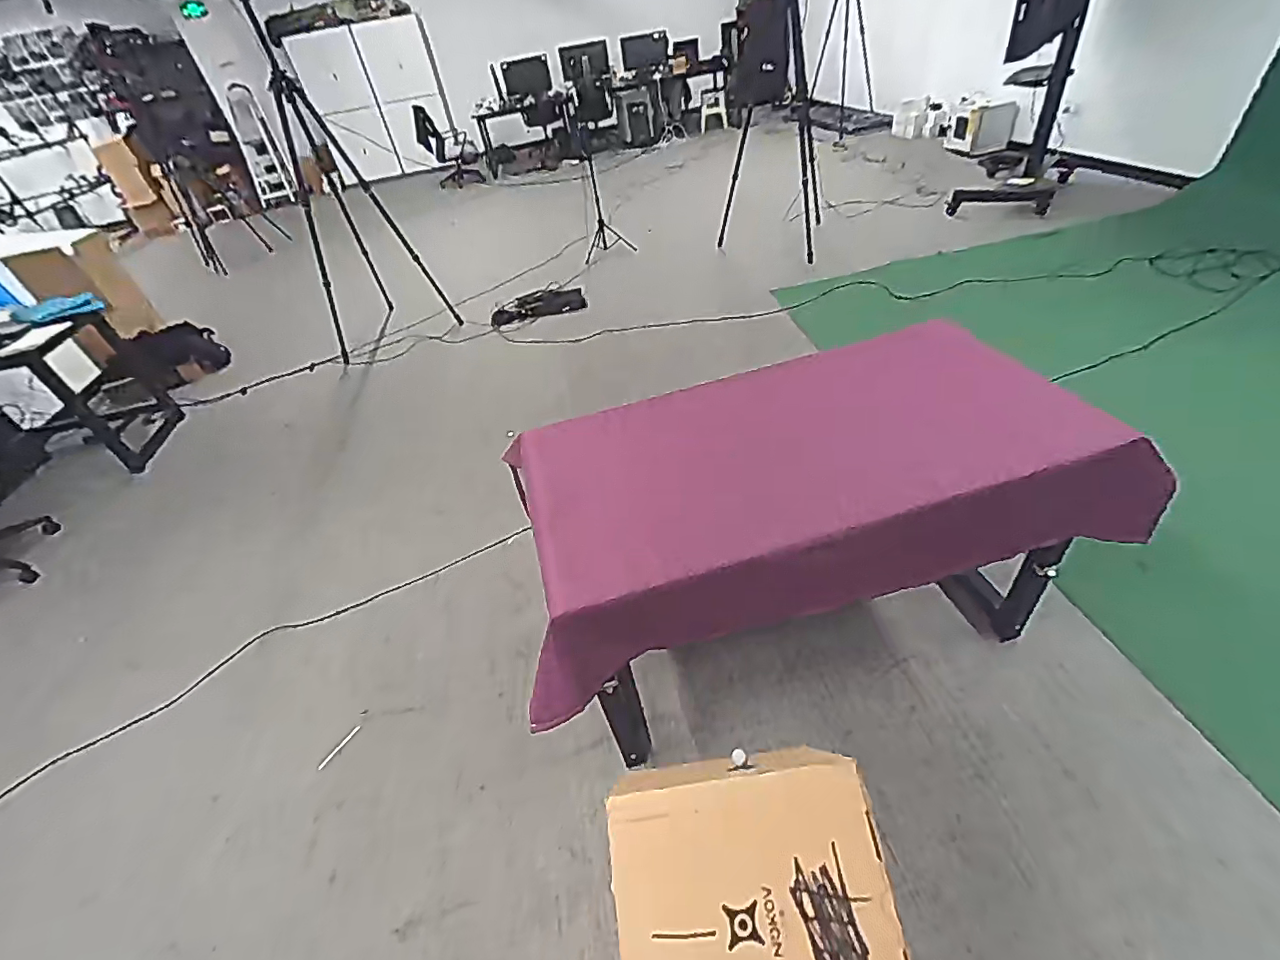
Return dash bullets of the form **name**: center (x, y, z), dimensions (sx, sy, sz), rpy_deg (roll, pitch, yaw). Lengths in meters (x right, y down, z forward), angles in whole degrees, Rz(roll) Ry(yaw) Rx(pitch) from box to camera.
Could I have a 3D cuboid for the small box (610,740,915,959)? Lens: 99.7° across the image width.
- **small box**: center (0.080, 0.301, 0.411), dimensions (0.179, 0.176, 0.168), rpy_deg (-9, 66, 1)
